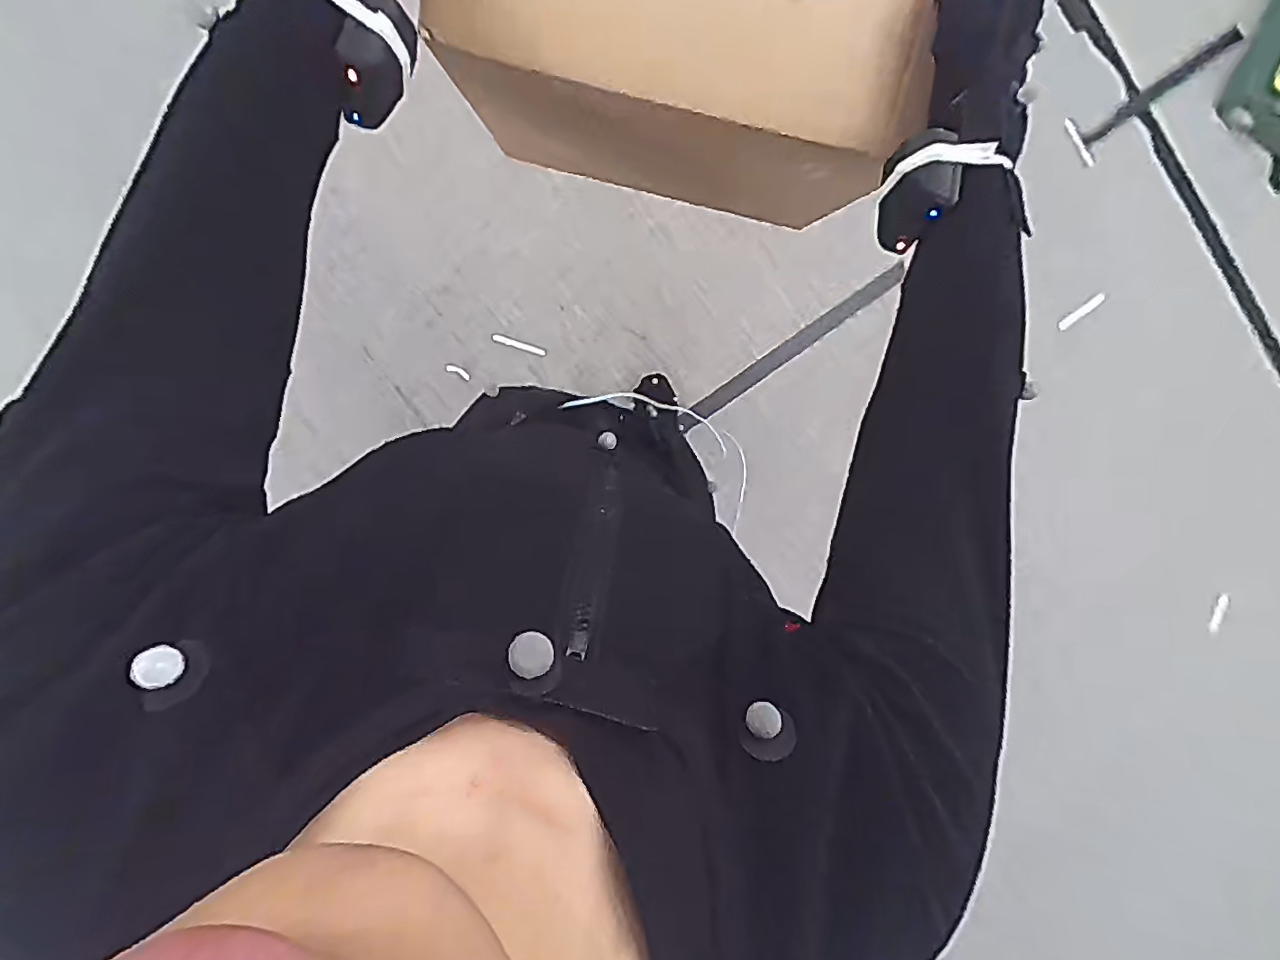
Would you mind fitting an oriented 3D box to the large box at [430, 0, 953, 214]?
[{"bbox_3d":[0.051,-0.491,0.533,0.408,0.320,0.320,10,107,-5],"label":"large box"}]
